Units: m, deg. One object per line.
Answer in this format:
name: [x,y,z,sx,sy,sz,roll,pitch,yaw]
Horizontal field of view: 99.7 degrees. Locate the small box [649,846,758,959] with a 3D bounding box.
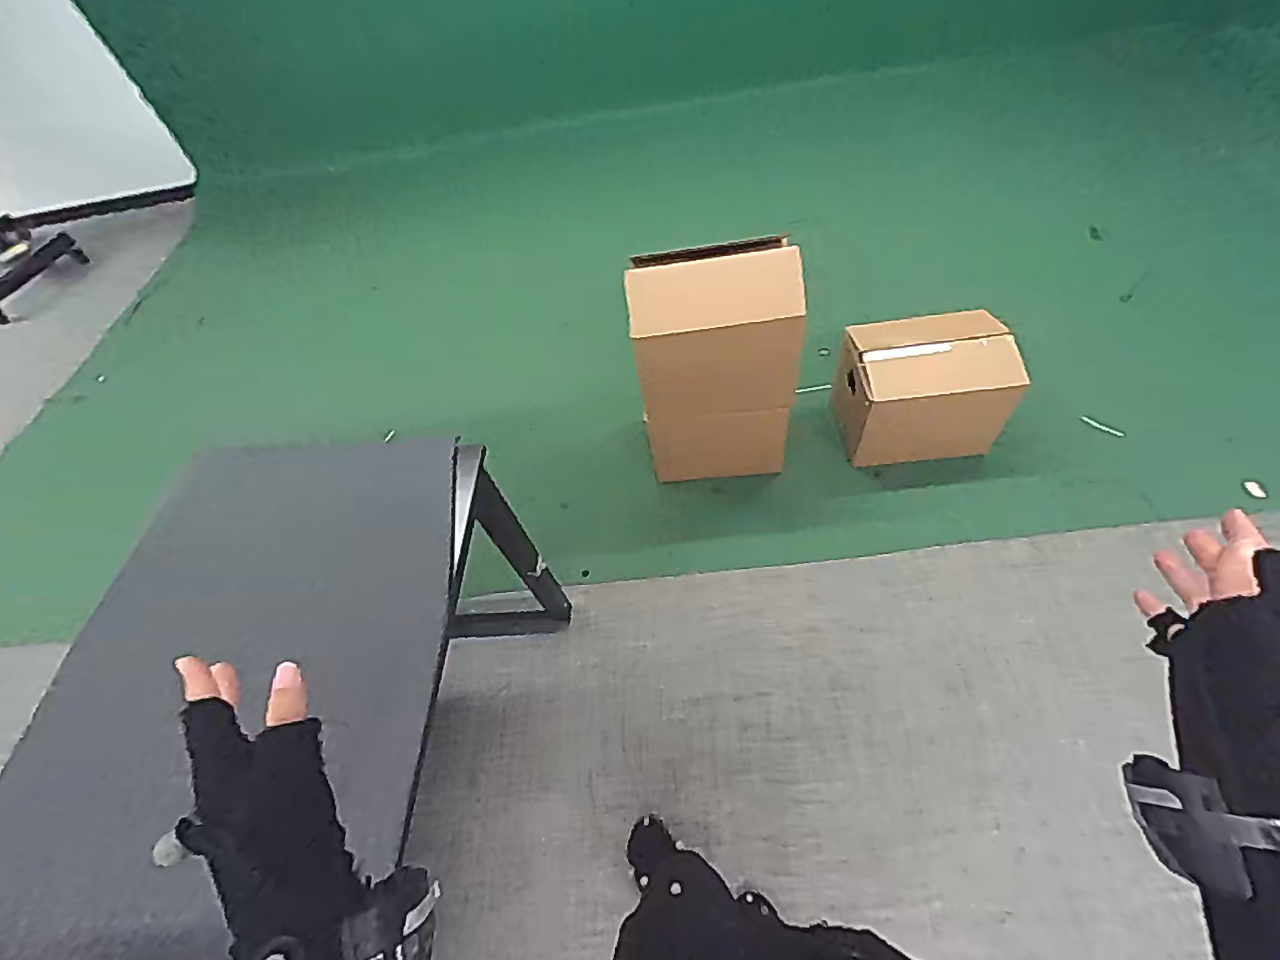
small box: [0.120,0.855,1.094,0.168,0.176,0.179,6,57,-14]
